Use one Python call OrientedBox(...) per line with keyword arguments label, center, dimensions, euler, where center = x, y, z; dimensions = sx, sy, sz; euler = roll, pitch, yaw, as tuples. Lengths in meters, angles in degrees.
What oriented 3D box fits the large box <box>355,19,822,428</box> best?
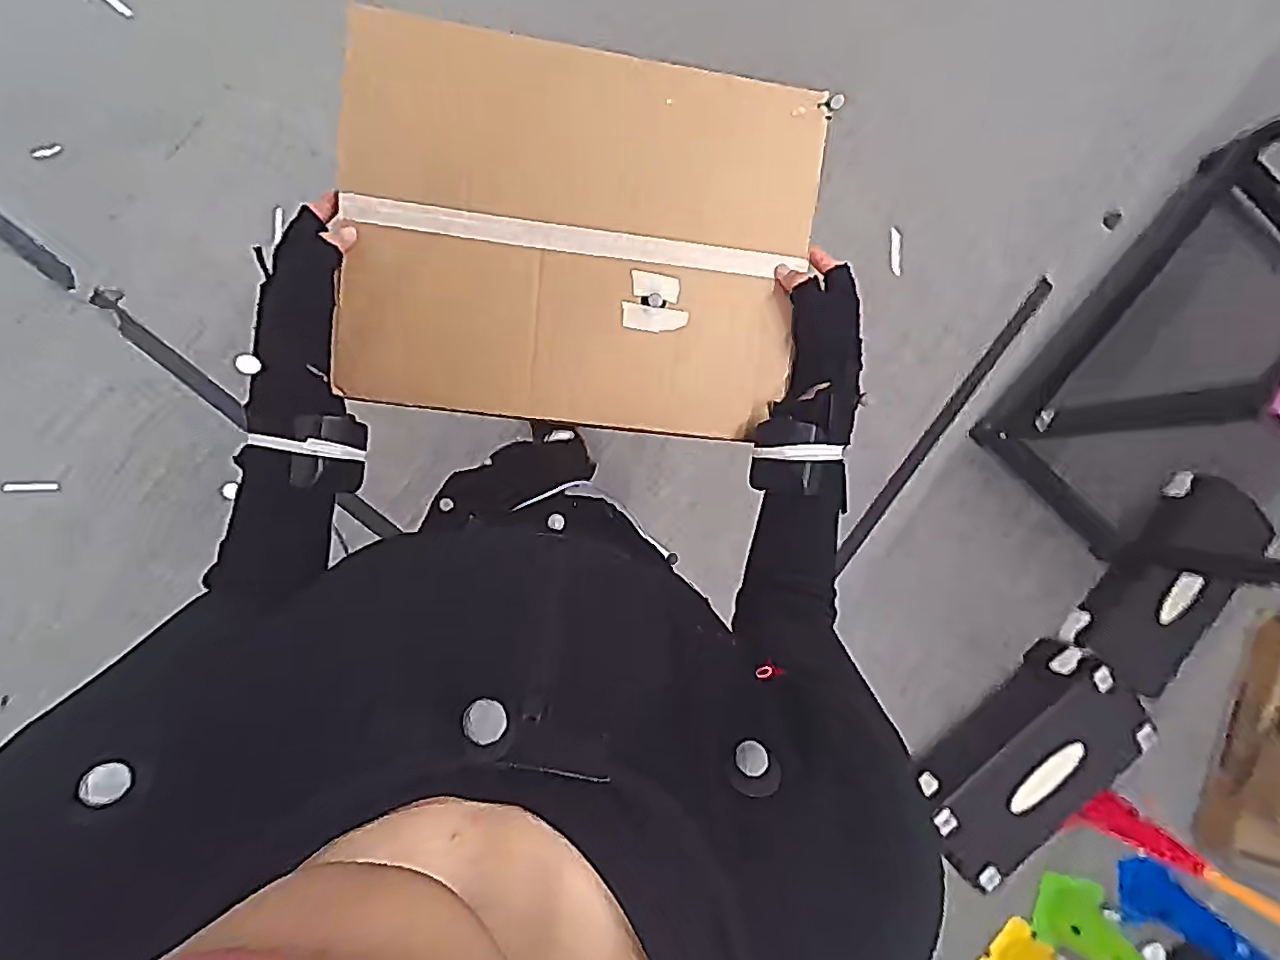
OrientedBox(label="large box", center=(-0.060, -0.232, 0.631), dimensions=(0.408, 0.320, 0.320), euler=(6, 96, -7))
